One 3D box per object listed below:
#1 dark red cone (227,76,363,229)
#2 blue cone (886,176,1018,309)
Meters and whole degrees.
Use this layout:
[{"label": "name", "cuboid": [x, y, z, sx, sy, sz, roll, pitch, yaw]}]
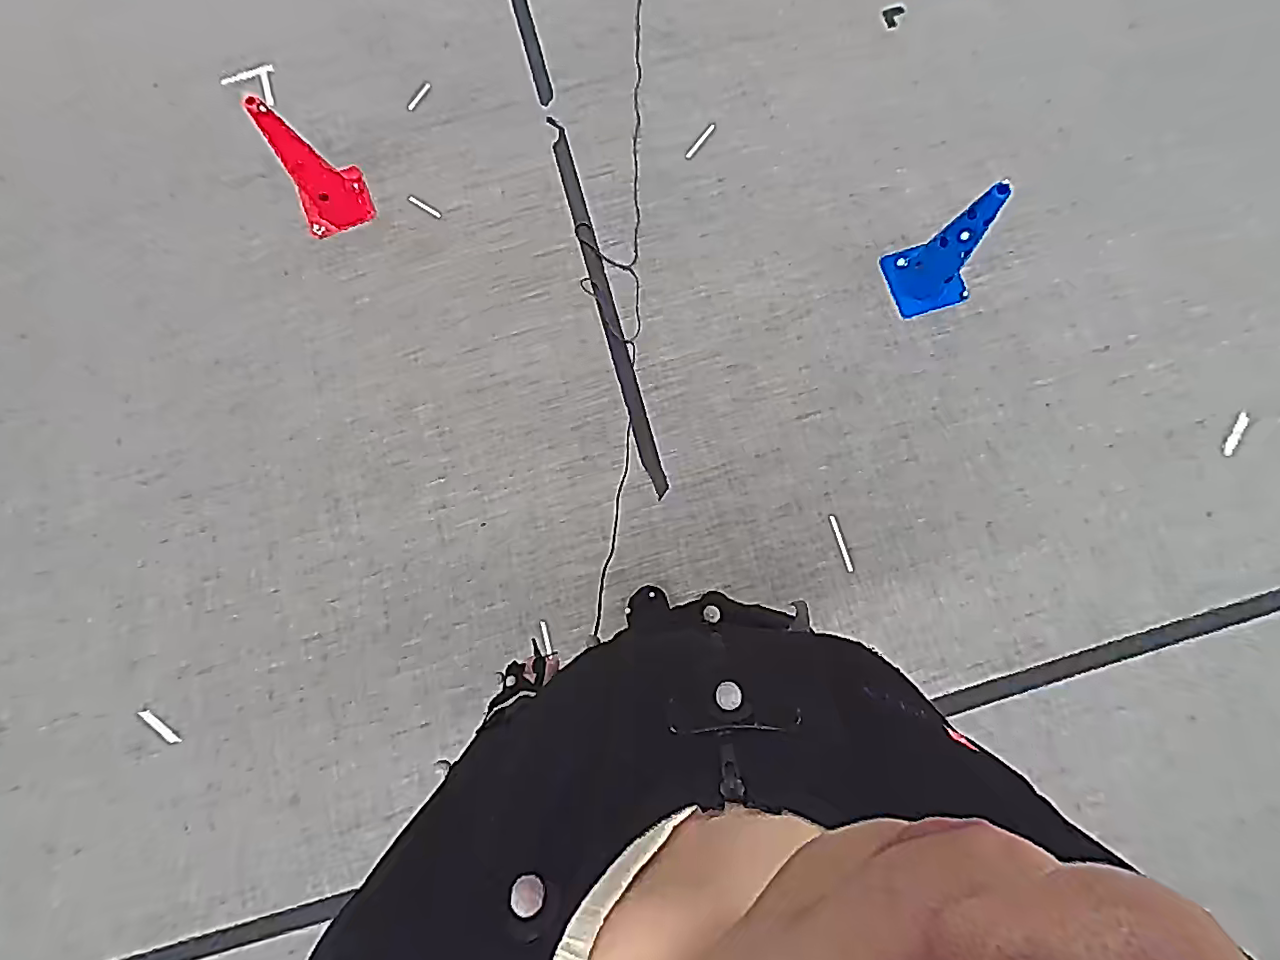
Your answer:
[{"label": "dark red cone", "cuboid": [-0.938, -0.882, 1.444, 0.201, 0.394, 0.202, -24, 79, -4]}, {"label": "blue cone", "cuboid": [0.799, -0.609, 1.358, 0.192, 0.380, 0.193, -15, 79, -2]}]
